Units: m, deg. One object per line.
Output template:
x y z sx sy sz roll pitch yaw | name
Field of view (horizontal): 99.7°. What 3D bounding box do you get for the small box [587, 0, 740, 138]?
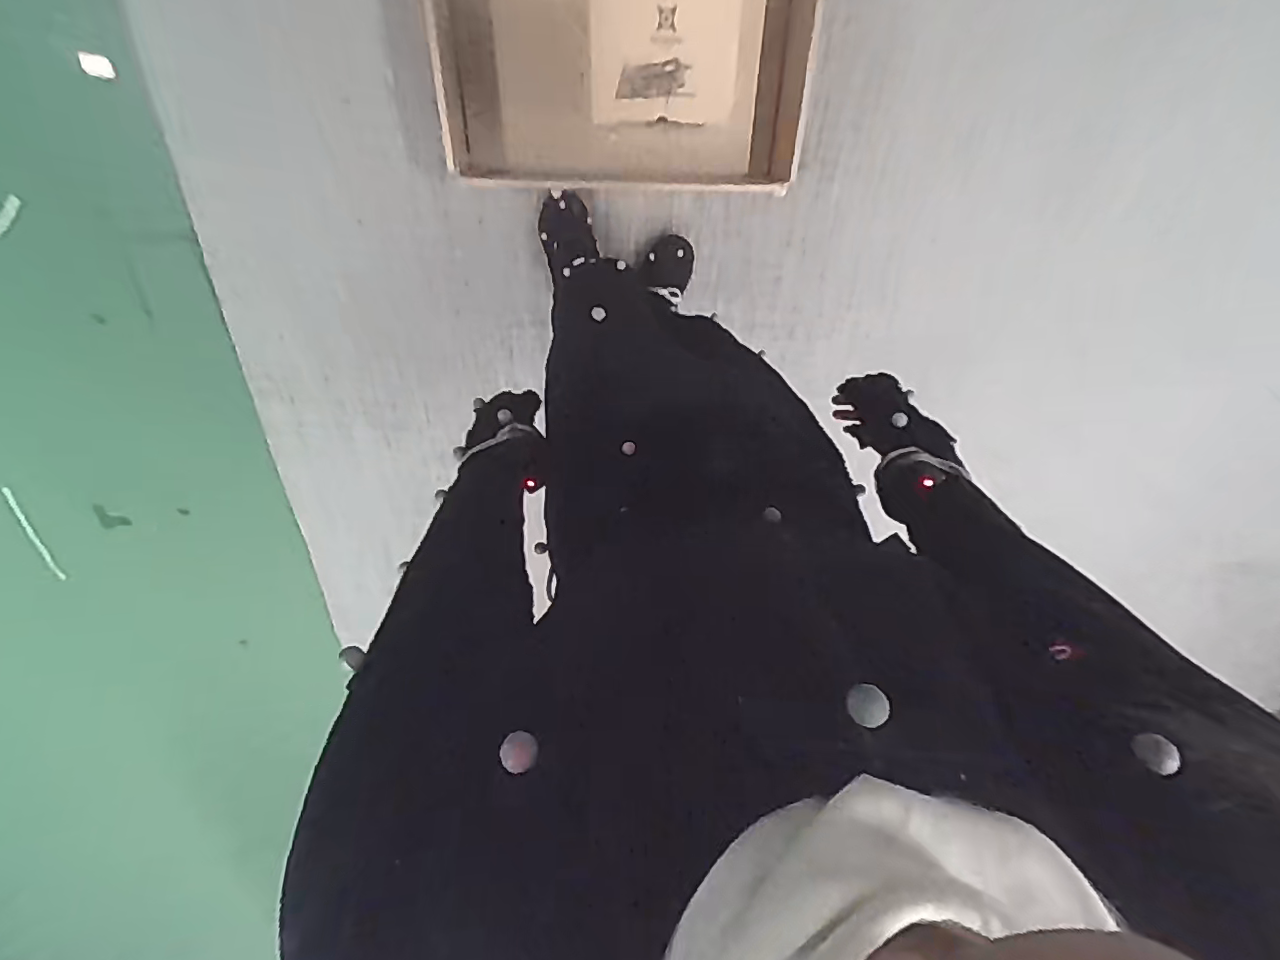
0.019 -0.526 0.663 0.168 0.176 0.179 -2 120 -5 | small box
